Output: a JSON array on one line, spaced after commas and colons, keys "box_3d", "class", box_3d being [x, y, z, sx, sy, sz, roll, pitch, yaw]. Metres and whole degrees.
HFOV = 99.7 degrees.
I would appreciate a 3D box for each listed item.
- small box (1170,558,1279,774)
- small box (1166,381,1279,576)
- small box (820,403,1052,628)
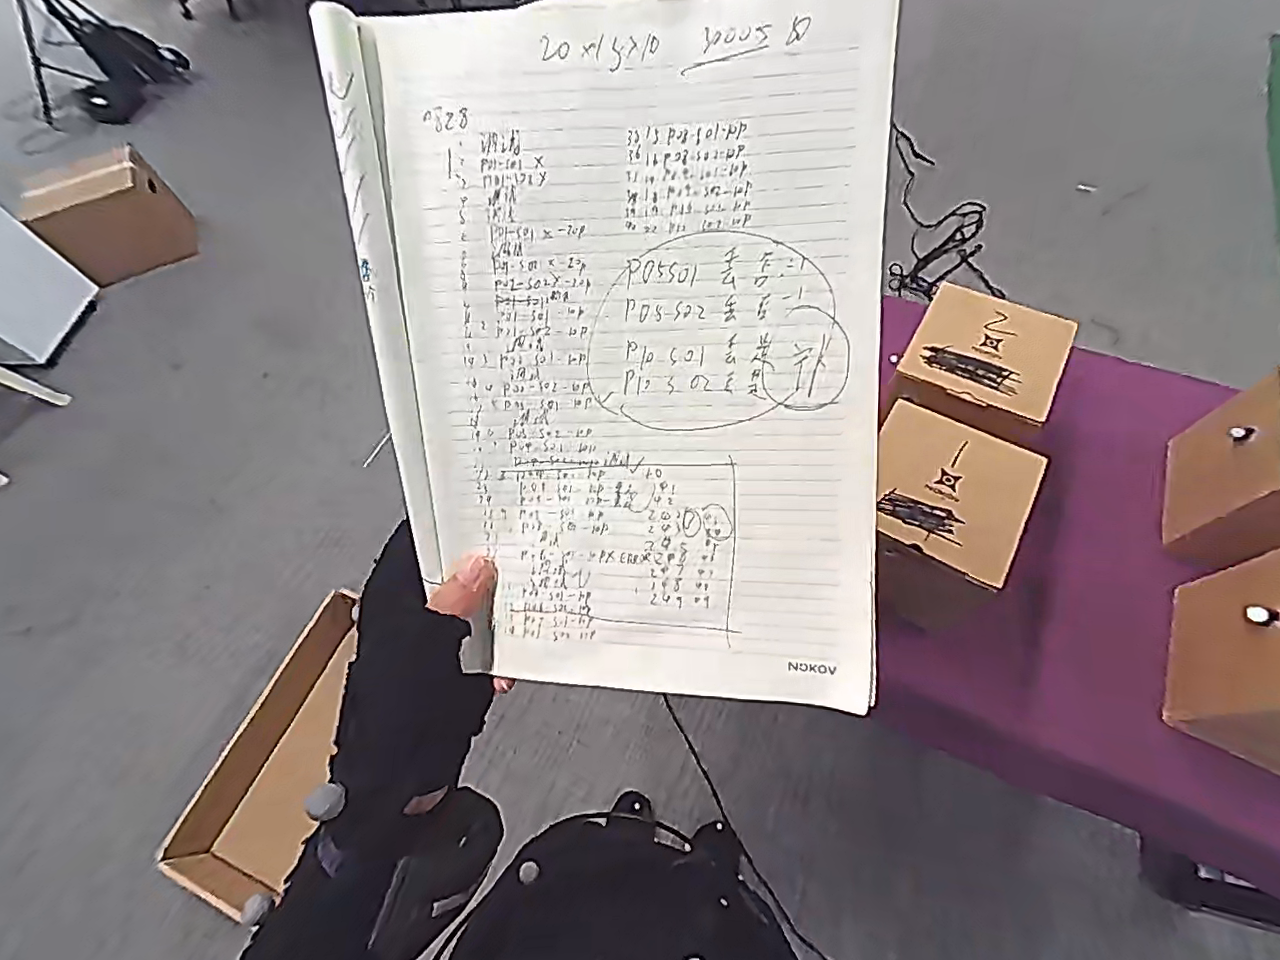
[{"box_3d": [0.681, 0.199, 0.530, 0.168, 0.176, 0.179, 25, 67, 18], "class": "small box"}, {"box_3d": [0.764, 0.012, 0.622, 0.168, 0.176, 0.179, 22, 67, 16], "class": "small box"}, {"box_3d": [0.331, 0.049, 0.640, 0.168, 0.176, 0.179, 29, 67, 19], "class": "small box"}]
